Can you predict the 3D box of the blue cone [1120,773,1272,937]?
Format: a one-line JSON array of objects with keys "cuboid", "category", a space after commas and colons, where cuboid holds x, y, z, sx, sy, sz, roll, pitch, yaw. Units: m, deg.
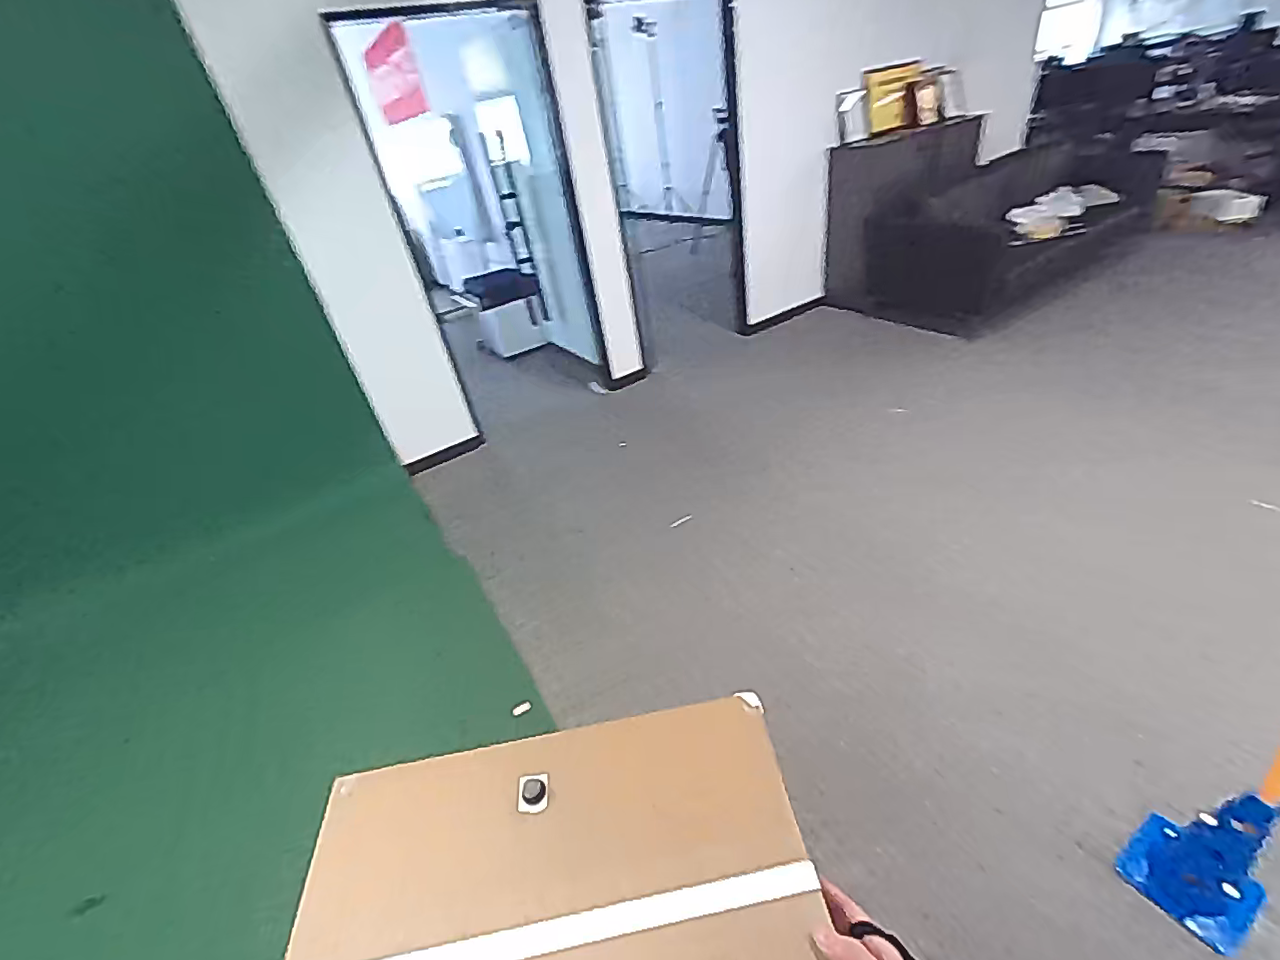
[{"cuboid": [1.145, 0.705, 1.074, 0.192, 0.380, 0.193, -28, 36, -24], "category": "blue cone"}]
